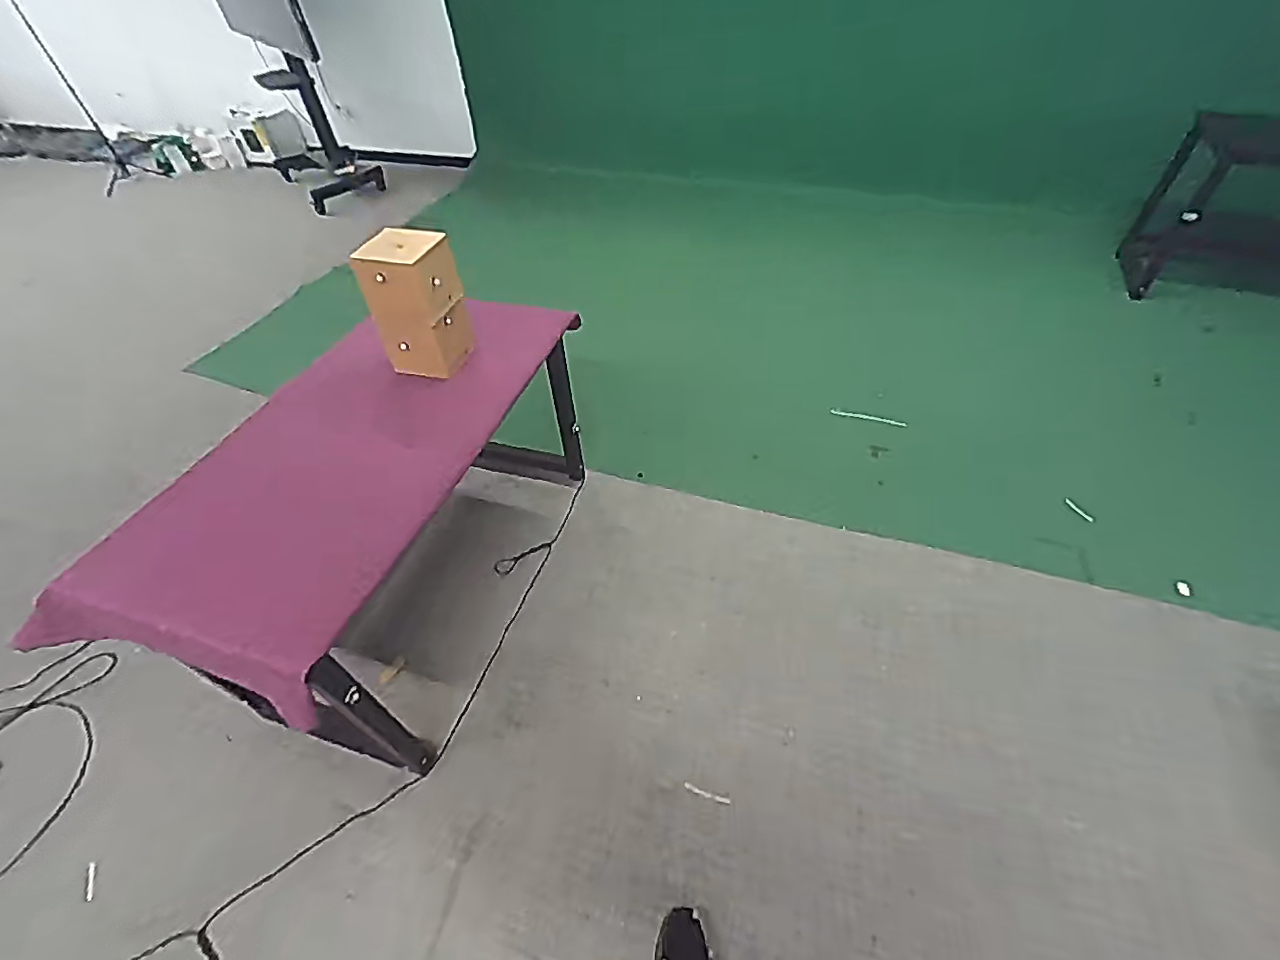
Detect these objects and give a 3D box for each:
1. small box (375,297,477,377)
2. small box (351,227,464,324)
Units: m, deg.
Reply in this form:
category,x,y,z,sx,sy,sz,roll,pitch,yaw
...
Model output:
category,x,y,z,sx,sy,sz,roll,pitch,yaw
small box,-0.576,-0.401,1.478,0.179,0.176,0.168,9,49,12
small box,-0.570,-0.509,1.356,0.179,0.176,0.168,10,49,12
